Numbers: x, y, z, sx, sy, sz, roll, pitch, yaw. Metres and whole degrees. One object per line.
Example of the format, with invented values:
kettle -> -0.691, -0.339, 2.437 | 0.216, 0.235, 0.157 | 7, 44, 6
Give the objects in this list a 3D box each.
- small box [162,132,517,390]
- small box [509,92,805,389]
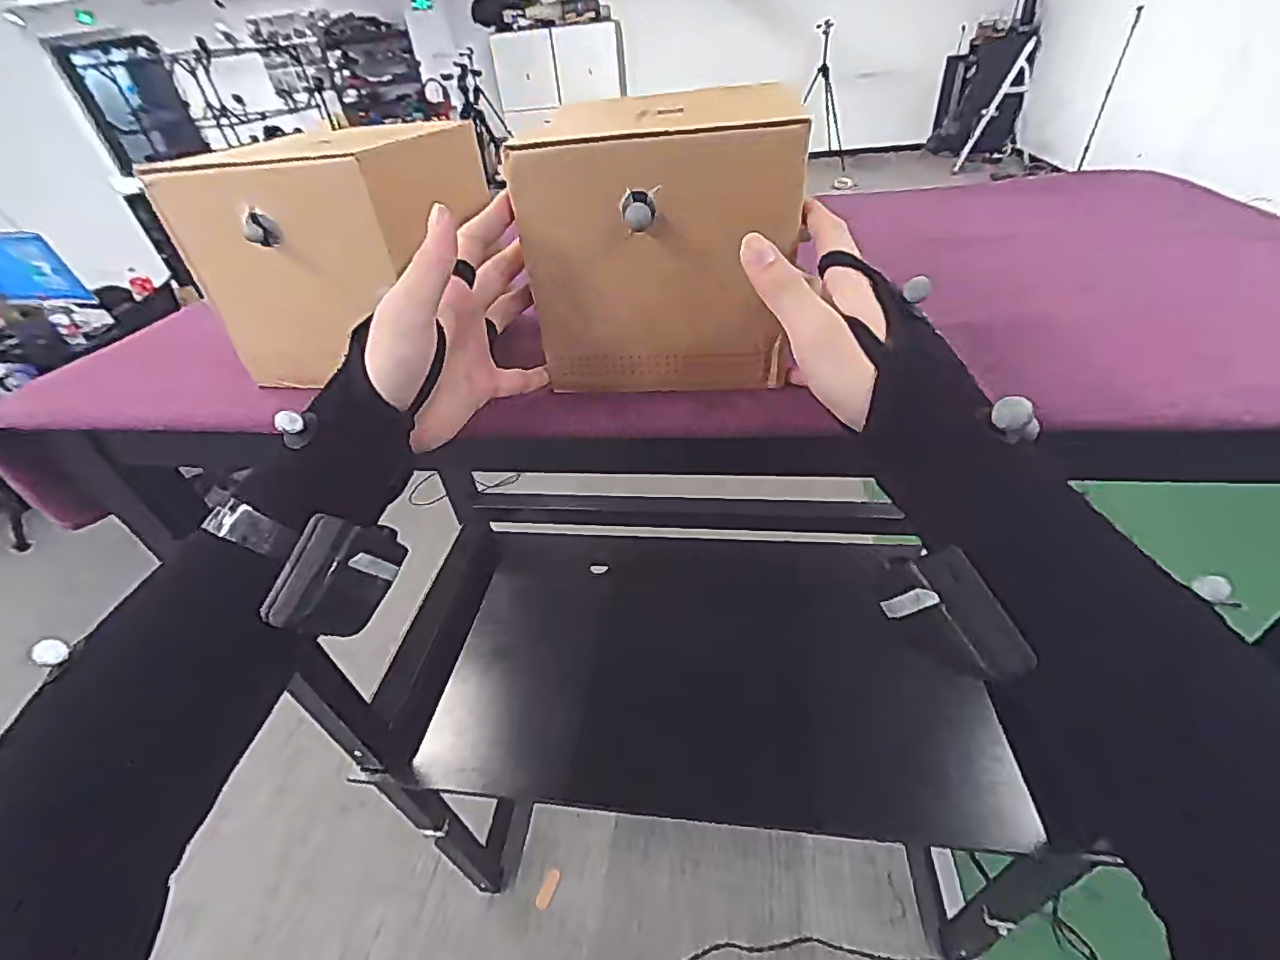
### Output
small box -> -0.230, -0.189, 0.468 | 0.179, 0.176, 0.168 | 4, 39, 12
small box -> 0.023, -0.183, 0.423 | 0.179, 0.176, 0.168 | 0, 41, 9
